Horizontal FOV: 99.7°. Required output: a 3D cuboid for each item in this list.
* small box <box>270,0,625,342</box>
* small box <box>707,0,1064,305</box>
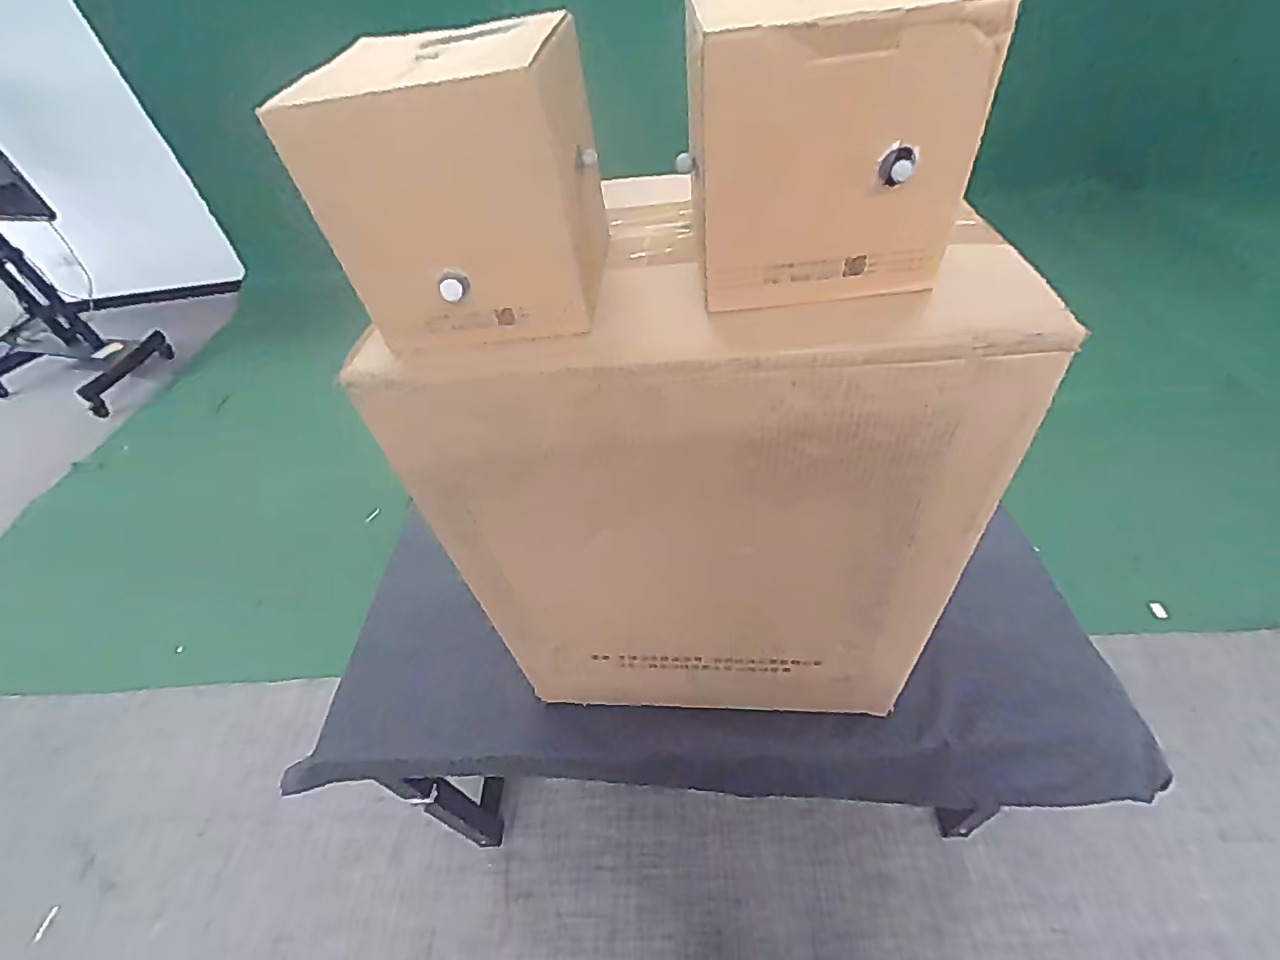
[{"bbox_3d":[-0.108,-0.222,0.399,0.168,0.176,0.179,-1,49,9],"label":"small box"},{"bbox_3d":[0.138,-0.239,0.388,0.168,0.176,0.179,-3,48,2],"label":"small box"}]
